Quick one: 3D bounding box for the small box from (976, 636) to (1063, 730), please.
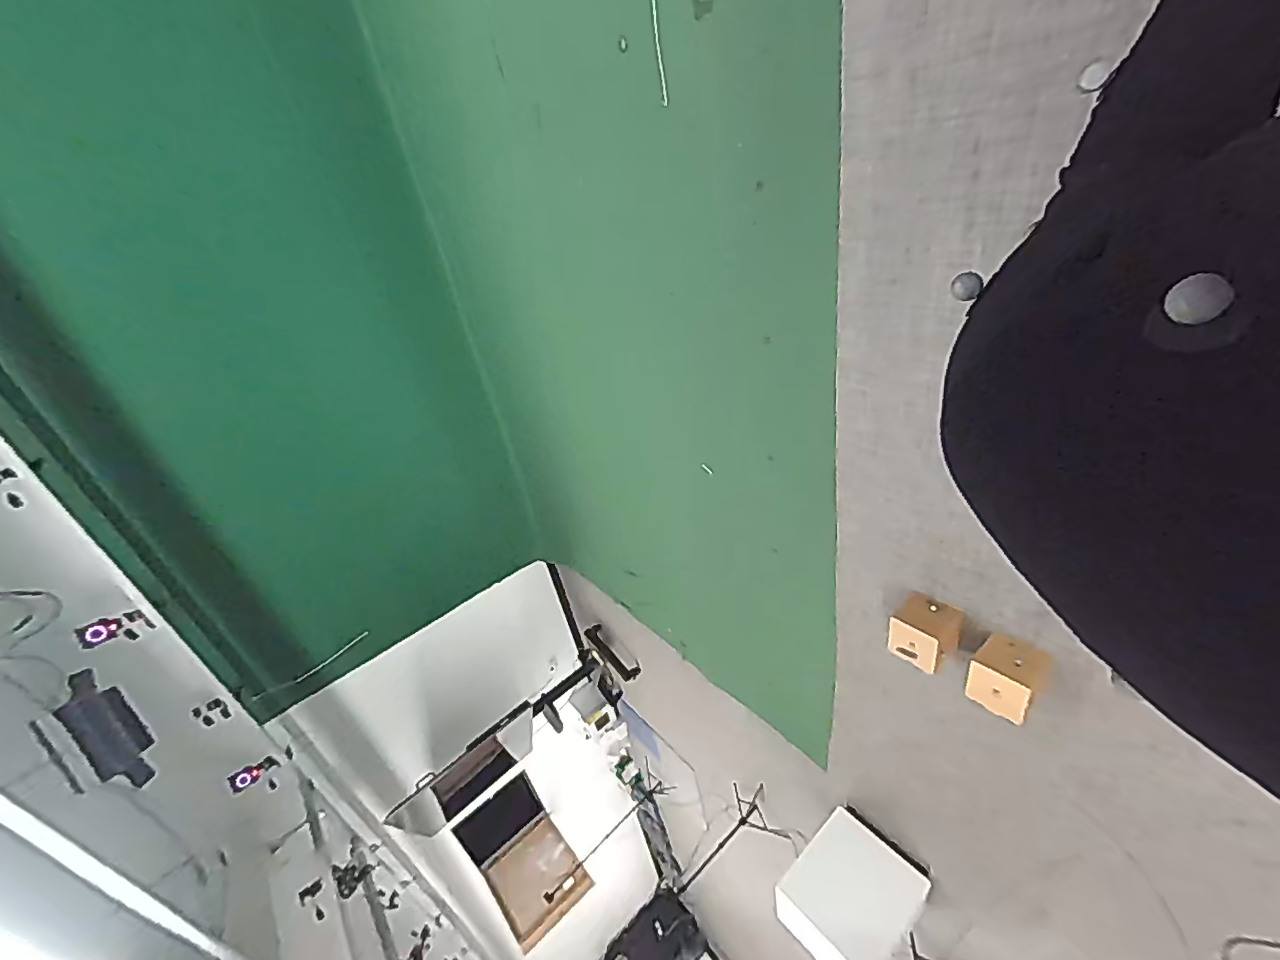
[{"bbox_3d":[1.183,0.624,1.683,0.168,0.176,0.179,25,137,48],"label":"small box"}]

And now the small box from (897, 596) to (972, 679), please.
[{"bbox_3d":[1.019,0.539,1.871,0.168,0.176,0.179,26,136,47],"label":"small box"}]
